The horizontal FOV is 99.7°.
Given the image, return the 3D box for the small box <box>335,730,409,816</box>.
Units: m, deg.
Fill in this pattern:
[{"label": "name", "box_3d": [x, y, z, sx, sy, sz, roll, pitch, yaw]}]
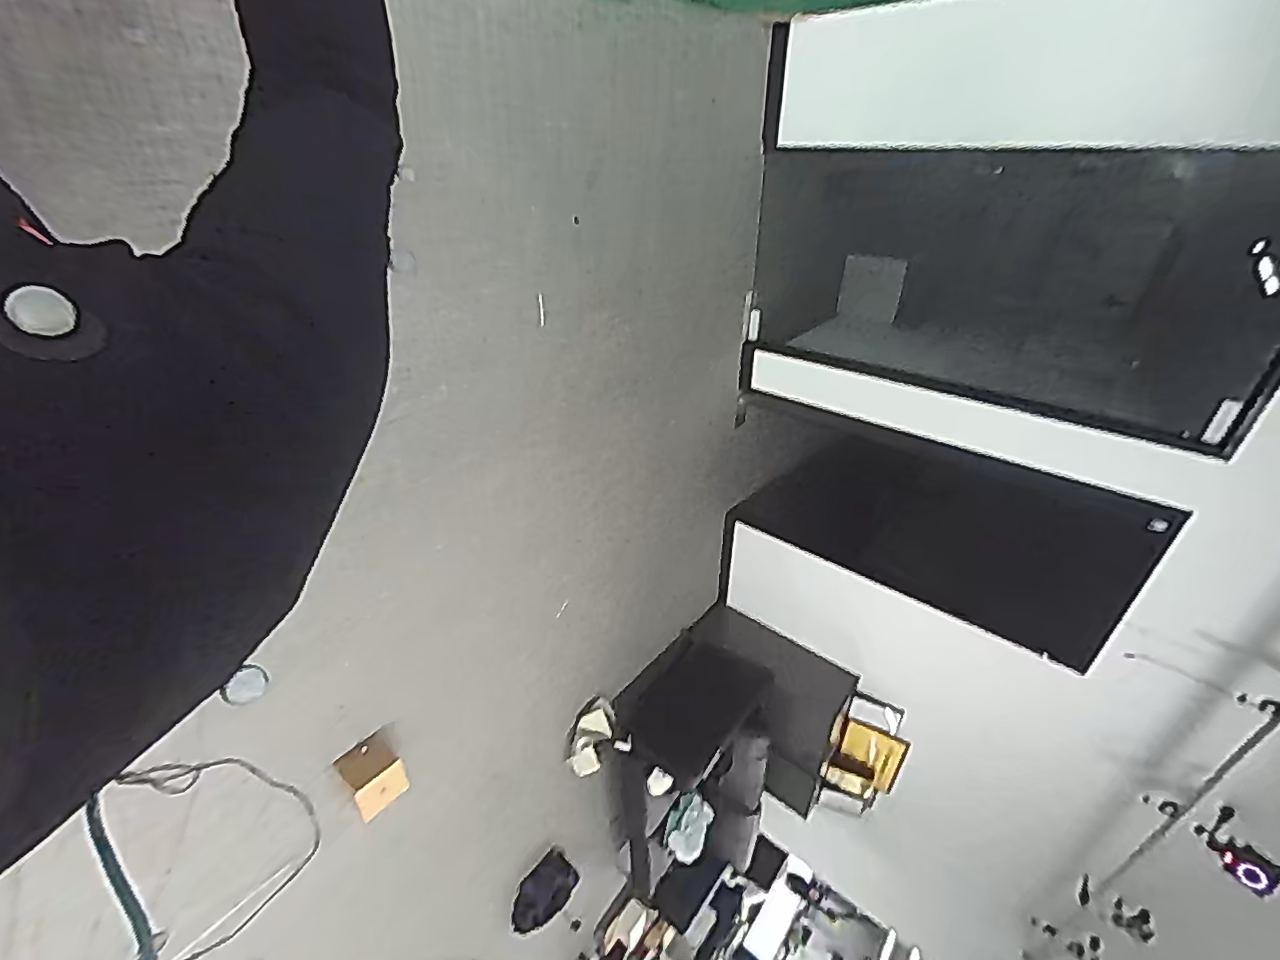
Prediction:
[{"label": "small box", "box_3d": [-0.964, 1.047, 1.944, 0.168, 0.176, 0.179, -31, 133, -43]}]
